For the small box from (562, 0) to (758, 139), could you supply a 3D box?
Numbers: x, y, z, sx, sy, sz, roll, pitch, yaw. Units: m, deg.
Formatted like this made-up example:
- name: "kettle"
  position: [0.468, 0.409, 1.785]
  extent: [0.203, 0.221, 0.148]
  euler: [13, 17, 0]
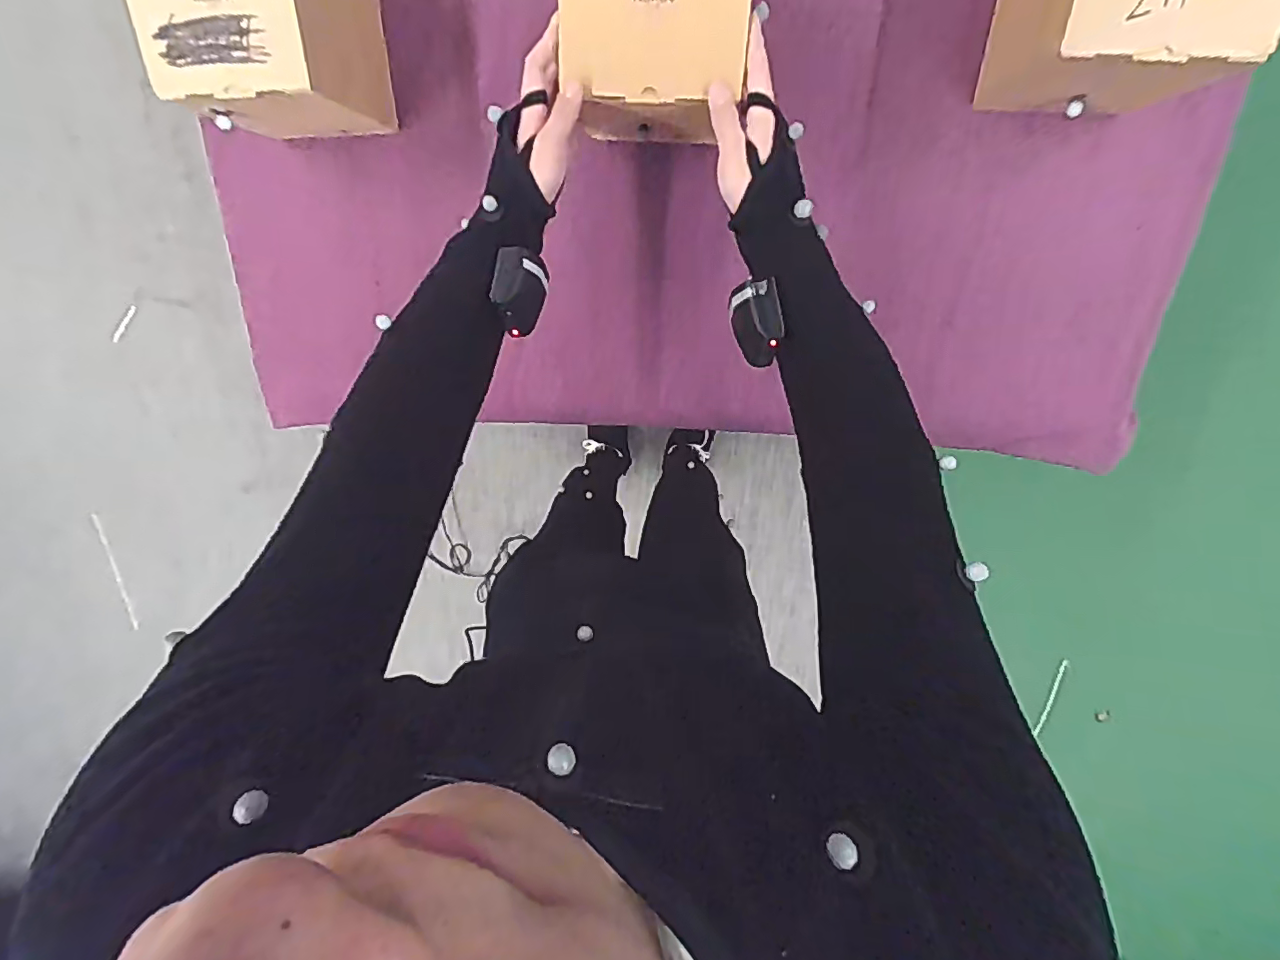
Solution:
- name: "small box"
  position: [0.022, -0.447, 0.518]
  extent: [0.168, 0.176, 0.179]
  euler: [4, 114, 3]

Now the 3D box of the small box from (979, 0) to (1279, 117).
- name: "small box"
  position: [0.449, -0.460, 0.495]
  extent: [0.168, 0.176, 0.179]
  euler: [6, 112, 5]
